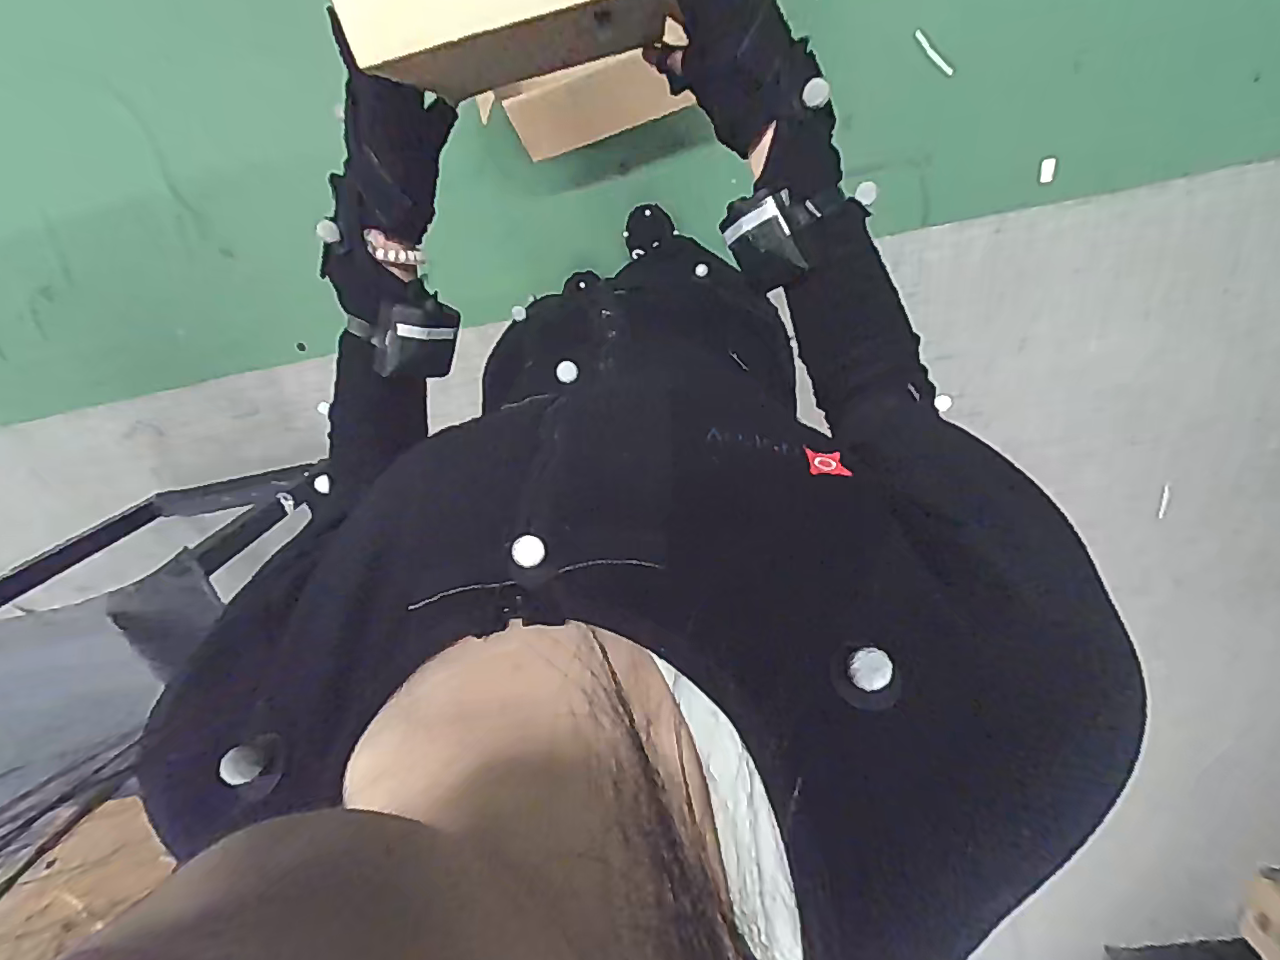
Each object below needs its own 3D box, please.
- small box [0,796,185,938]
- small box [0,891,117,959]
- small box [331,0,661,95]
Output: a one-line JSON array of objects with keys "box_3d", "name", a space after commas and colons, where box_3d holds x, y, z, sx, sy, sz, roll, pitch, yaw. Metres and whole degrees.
[{"box_3d": [-1.018, 0.727, 1.018, 0.179, 0.176, 0.168, -11, 113, 7], "name": "small box"}, {"box_3d": [-1.032, 0.808, 0.875, 0.179, 0.176, 0.168, -13, 114, 6], "name": "small box"}, {"box_3d": [-0.085, -0.345, 0.309, 0.179, 0.176, 0.168, -12, 120, 6], "name": "small box"}]
